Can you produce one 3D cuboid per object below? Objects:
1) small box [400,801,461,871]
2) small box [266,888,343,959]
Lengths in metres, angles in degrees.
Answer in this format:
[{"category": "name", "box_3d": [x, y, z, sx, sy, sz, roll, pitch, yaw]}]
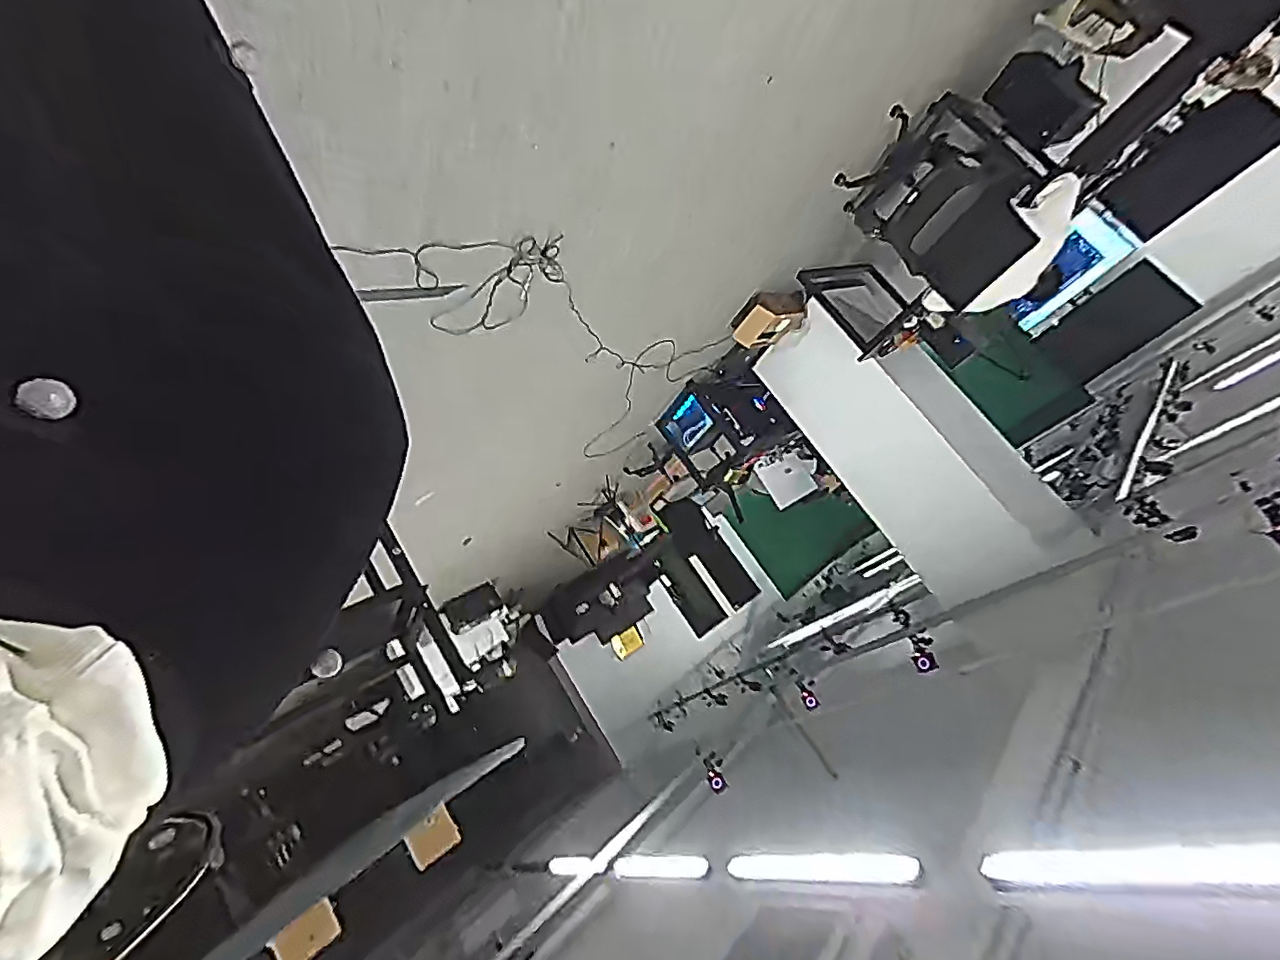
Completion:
[{"category": "small box", "box_3d": [-0.832, 1.400, 2.136, 0.168, 0.176, 0.179, -26, 164, -36]}, {"category": "small box", "box_3d": [-1.151, 1.539, 1.852, 0.179, 0.176, 0.168, -22, 161, -41]}]
